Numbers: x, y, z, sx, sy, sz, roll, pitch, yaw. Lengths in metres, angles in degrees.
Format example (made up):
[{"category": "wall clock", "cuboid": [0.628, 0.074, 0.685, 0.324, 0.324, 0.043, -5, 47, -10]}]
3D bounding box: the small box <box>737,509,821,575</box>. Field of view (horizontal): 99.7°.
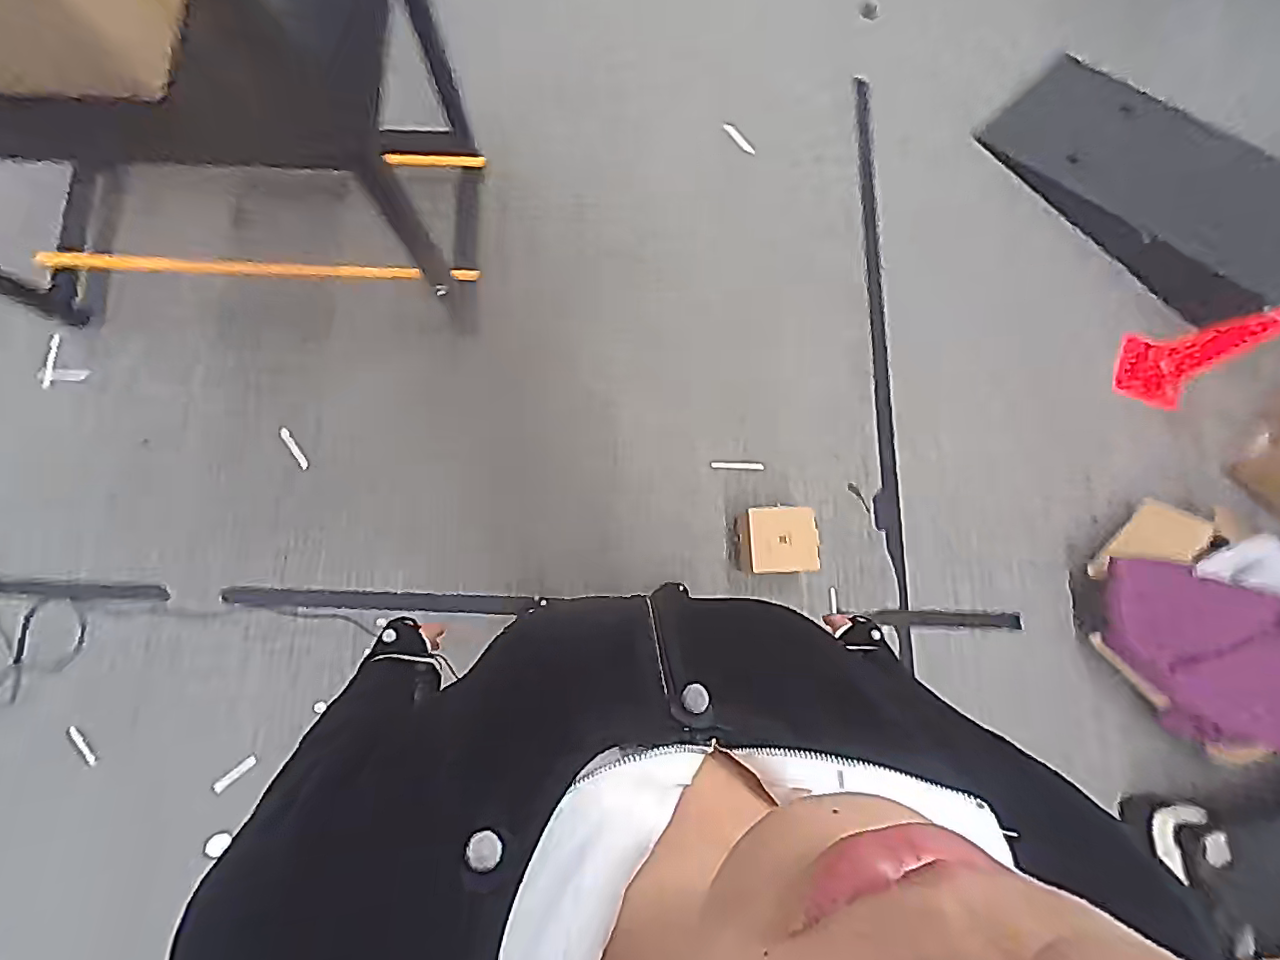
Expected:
[{"category": "small box", "cuboid": [0.367, 0.169, 1.454, 0.179, 0.176, 0.168, -2, 79, -1]}]
